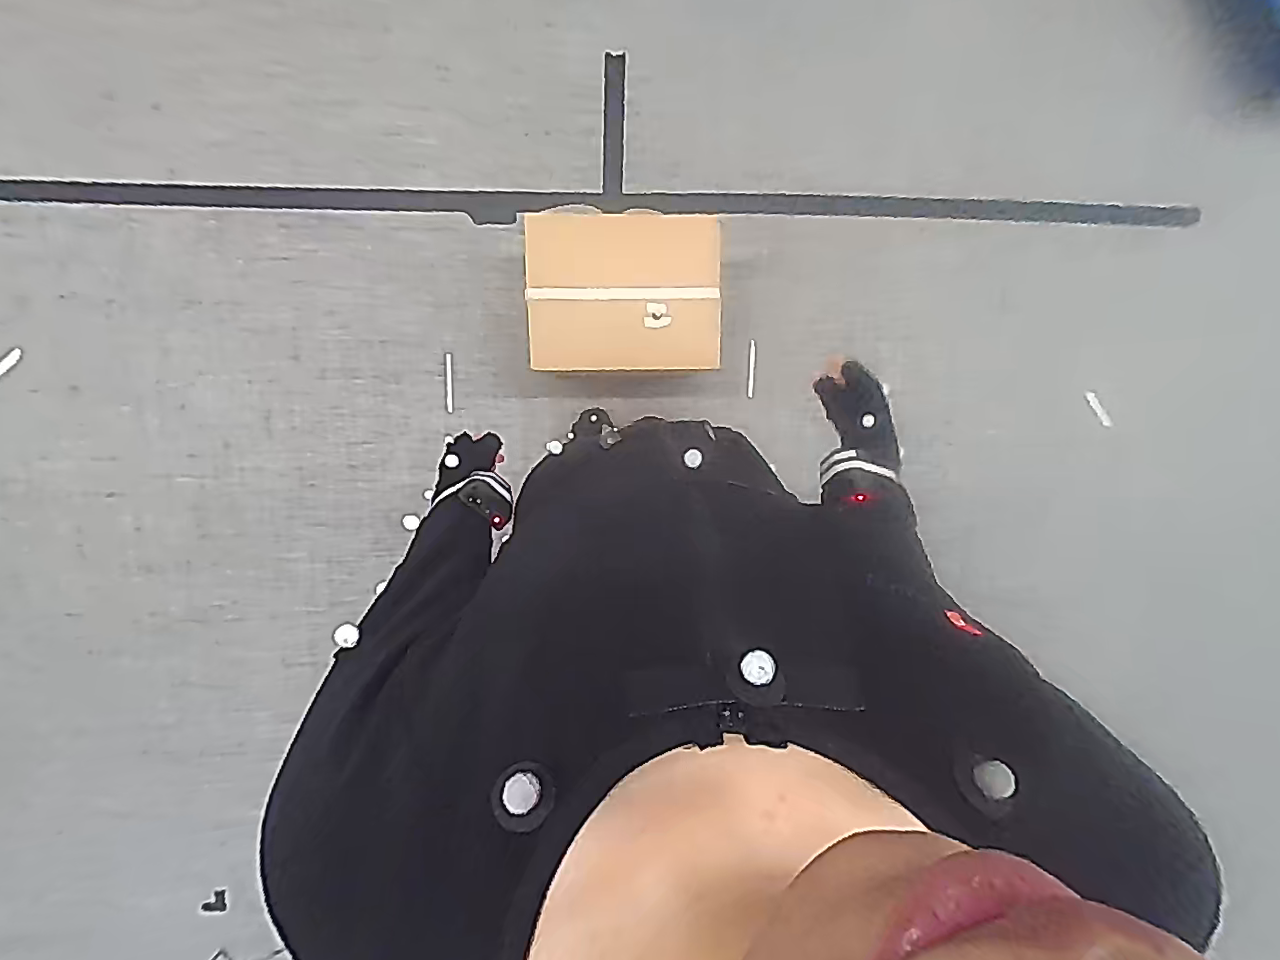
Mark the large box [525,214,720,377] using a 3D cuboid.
[{"bbox_3d":[-0.045,-0.411,1.272,0.408,0.320,0.320,-2,99,-5],"label":"large box"}]
